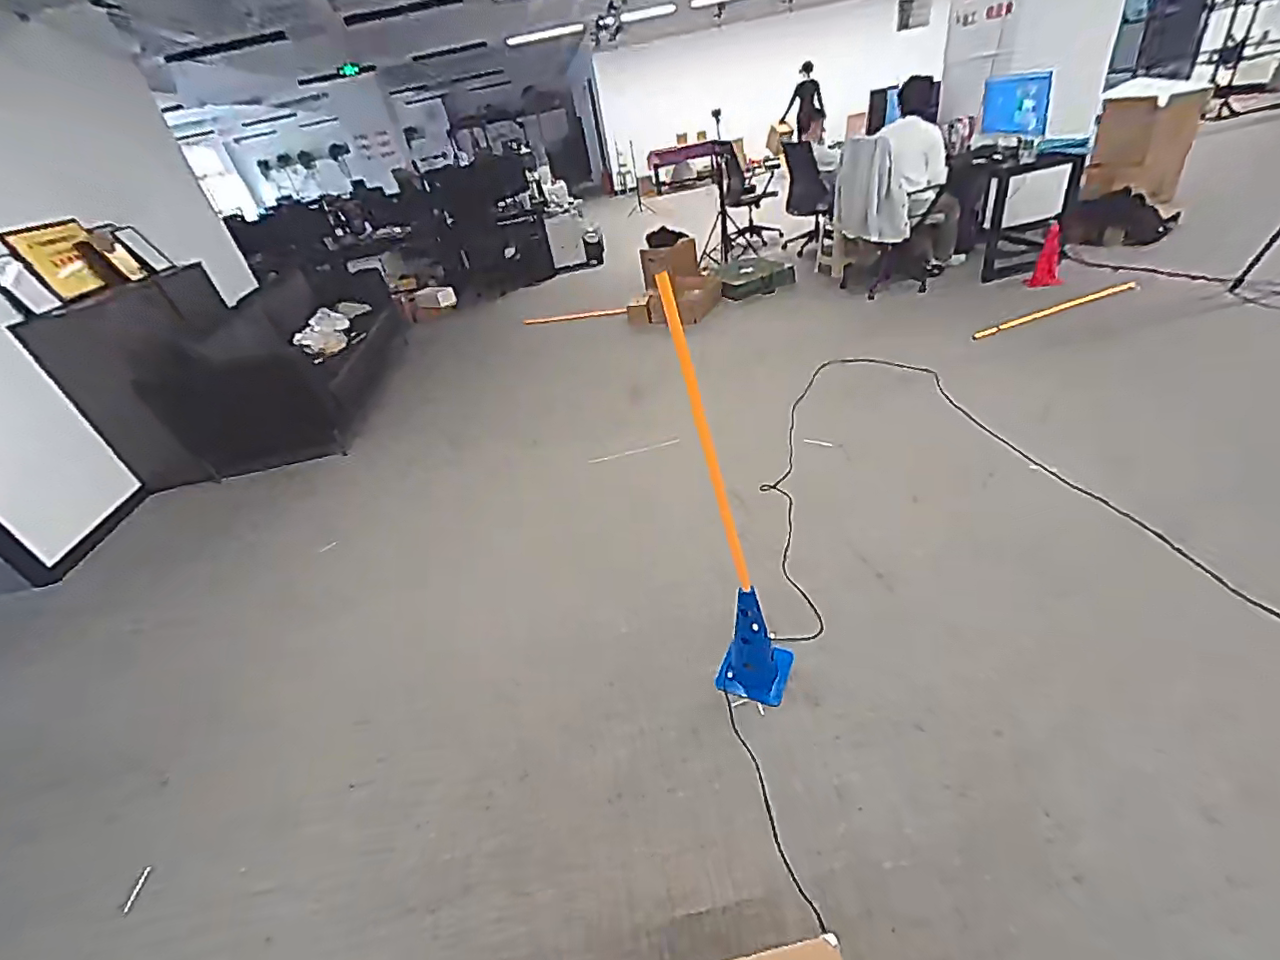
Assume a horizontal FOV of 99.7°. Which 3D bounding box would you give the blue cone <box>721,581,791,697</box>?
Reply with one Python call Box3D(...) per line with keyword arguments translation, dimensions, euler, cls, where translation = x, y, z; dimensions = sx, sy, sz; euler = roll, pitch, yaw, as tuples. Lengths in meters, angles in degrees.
Box3D(translation=(0.321, 0.431, 1.547), dimensions=(0.192, 0.380, 0.193), euler=(6, 39, 26), cls="blue cone")
